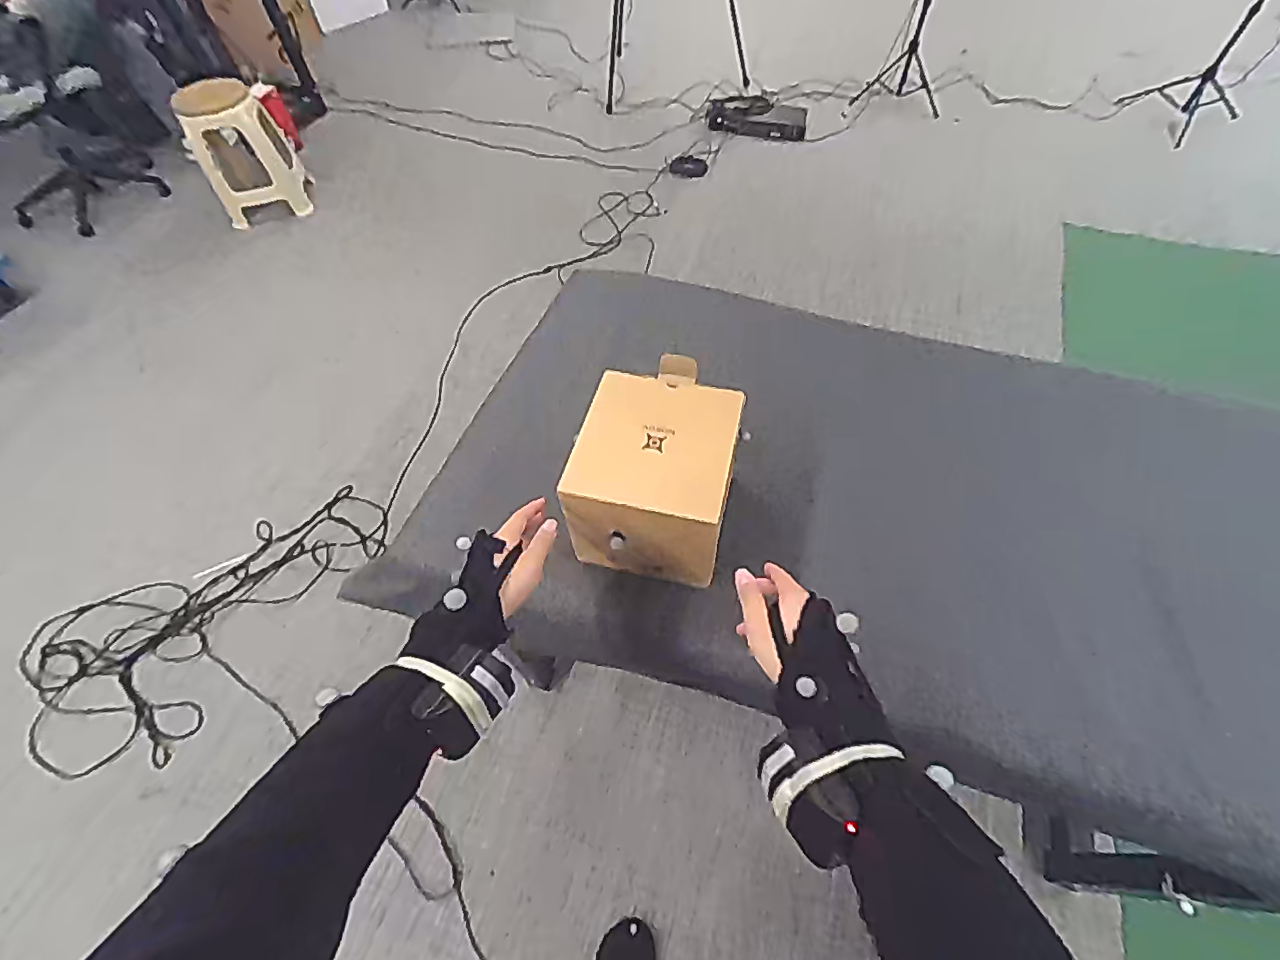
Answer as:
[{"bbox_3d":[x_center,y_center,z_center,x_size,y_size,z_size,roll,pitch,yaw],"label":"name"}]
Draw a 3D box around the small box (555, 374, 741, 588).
[{"bbox_3d":[0.017,0.006,0.637,0.168,0.176,0.179,12,56,9],"label":"small box"}]
